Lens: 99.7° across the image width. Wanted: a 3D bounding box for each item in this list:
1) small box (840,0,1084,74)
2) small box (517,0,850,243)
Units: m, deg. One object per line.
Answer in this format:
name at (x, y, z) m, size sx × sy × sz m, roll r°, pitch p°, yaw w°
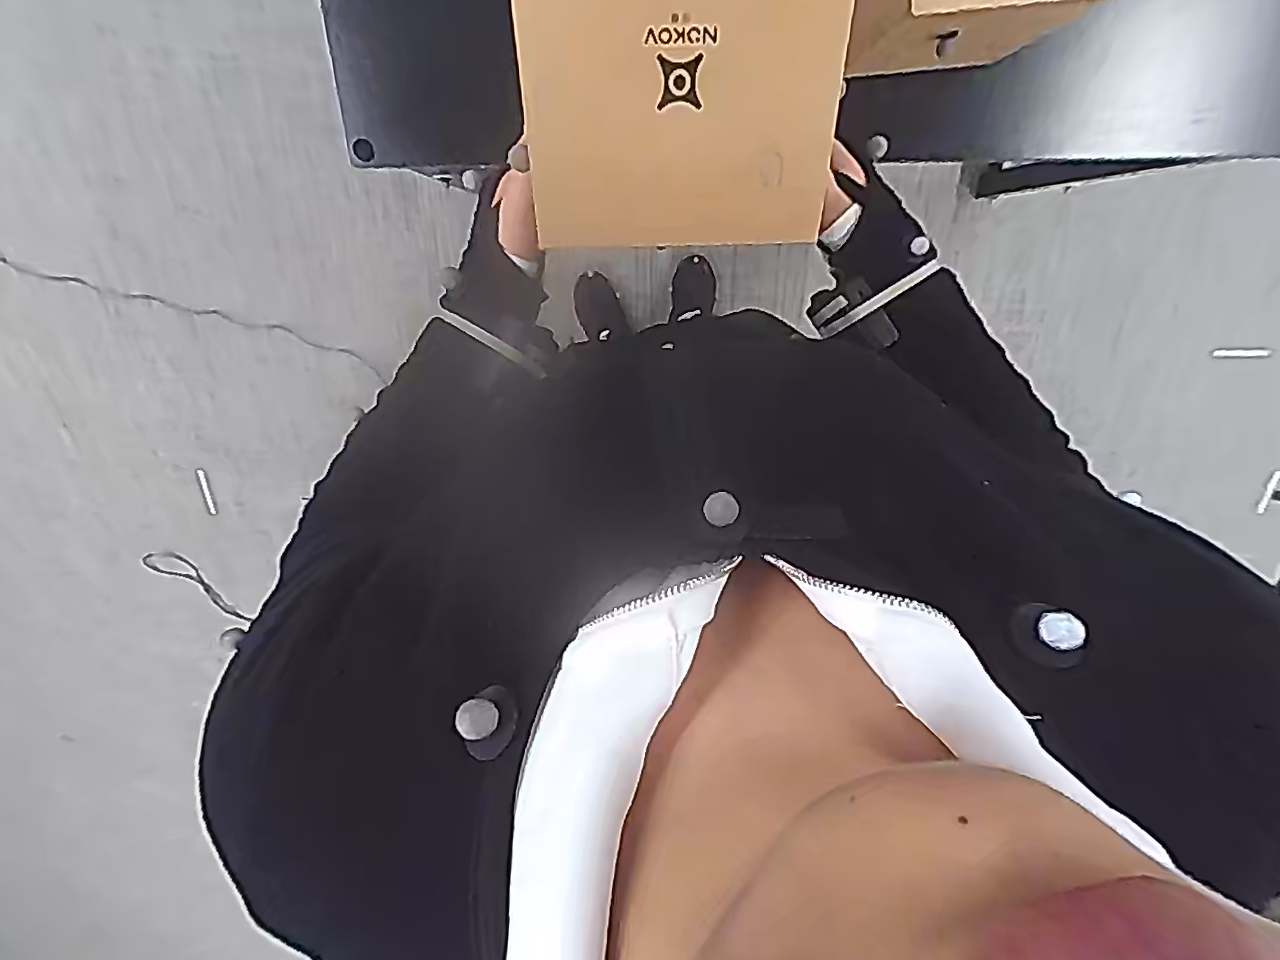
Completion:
small box at (0.292, -0.496, 0.489) m, size 0.179 × 0.176 × 0.168 m, roll -5°, pitch 112°, yaw 1°
small box at (0.020, -0.259, 0.343) m, size 0.168 × 0.176 × 0.179 m, roll -1°, pitch 122°, yaw -1°
